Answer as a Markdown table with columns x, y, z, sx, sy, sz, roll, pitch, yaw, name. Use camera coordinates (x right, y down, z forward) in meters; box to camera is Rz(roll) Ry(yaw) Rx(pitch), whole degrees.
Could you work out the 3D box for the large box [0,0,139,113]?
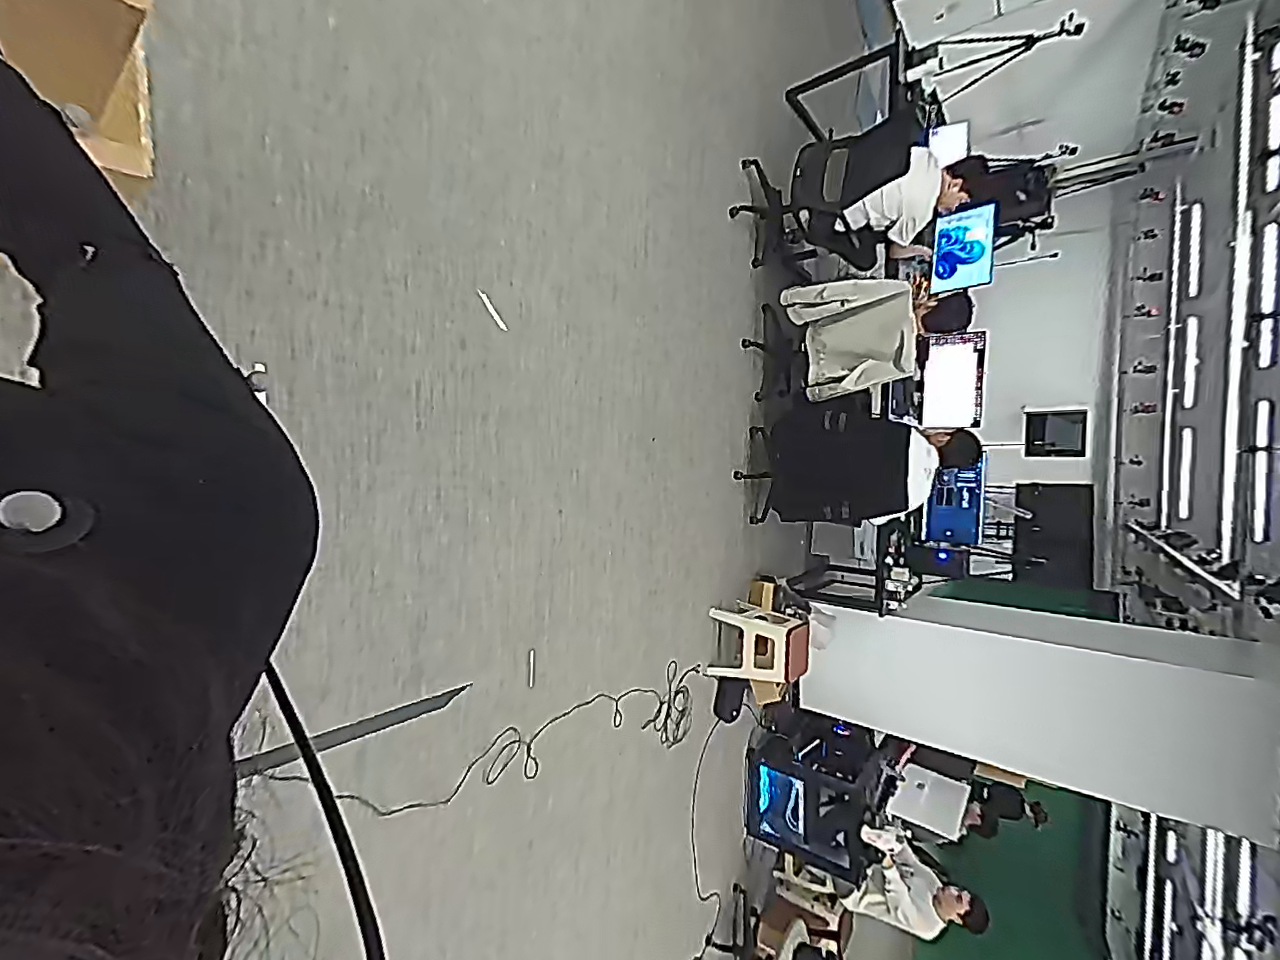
| x | y | z | sx | sy | sz | roll | pitch | yaw | name |
| --- | --- | --- | --- | --- | --- | --- | --- | --- | --- |
| -0.686 | -0.580 | 0.408 | 0.408 | 0.320 | 0.320 | -4 | 95 | -54 | large box |
